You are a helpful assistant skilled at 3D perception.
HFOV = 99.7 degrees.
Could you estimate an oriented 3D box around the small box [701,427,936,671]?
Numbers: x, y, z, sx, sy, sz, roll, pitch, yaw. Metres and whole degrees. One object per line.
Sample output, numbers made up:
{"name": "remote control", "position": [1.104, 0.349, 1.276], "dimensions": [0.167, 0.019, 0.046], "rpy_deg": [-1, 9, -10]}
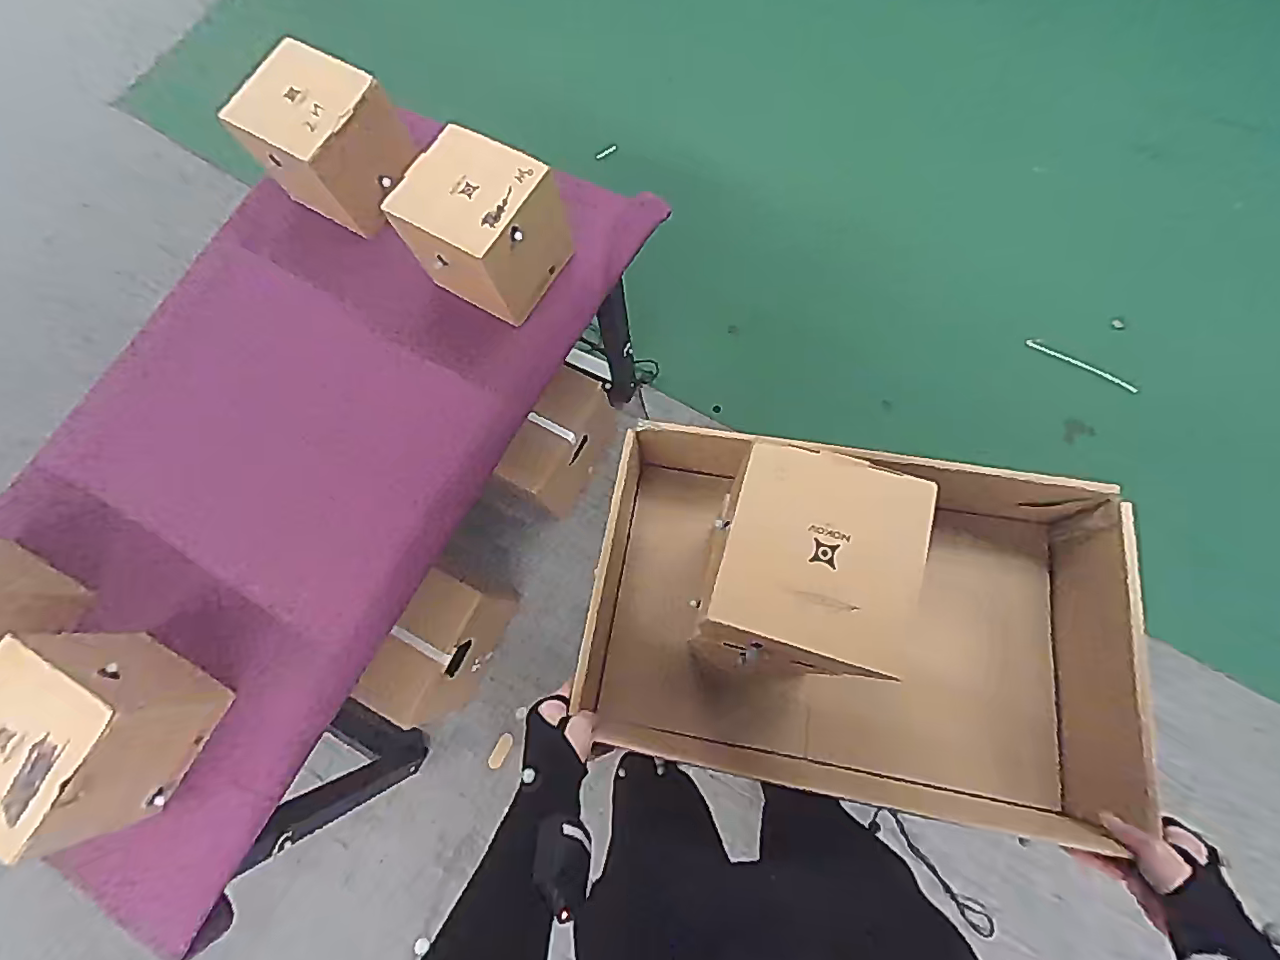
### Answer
{"name": "small box", "position": [0.163, 0.076, 0.541], "dimensions": [0.168, 0.176, 0.179], "rpy_deg": [17, 74, 8]}

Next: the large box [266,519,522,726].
{"name": "large box", "position": [-0.566, 0.340, 1.321], "dimensions": [0.408, 0.320, 0.320], "rpy_deg": [25, 76, 11]}

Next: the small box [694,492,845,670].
{"name": "small box", "position": [0.168, 0.133, 0.695], "dimensions": [0.168, 0.176, 0.179], "rpy_deg": [13, 74, 6]}

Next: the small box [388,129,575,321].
{"name": "small box", "position": [-0.223, -0.368, 0.806], "dimensions": [0.179, 0.176, 0.168], "rpy_deg": [30, 80, 13]}

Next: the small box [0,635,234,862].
{"name": "small box", "position": [-0.652, 0.298, 0.648], "dimensions": [0.179, 0.176, 0.168], "rpy_deg": [26, 77, 11]}

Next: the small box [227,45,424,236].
{"name": "small box", "position": [-0.486, -0.530, 0.866], "dimensions": [0.179, 0.176, 0.168], "rpy_deg": [30, 81, 9]}
